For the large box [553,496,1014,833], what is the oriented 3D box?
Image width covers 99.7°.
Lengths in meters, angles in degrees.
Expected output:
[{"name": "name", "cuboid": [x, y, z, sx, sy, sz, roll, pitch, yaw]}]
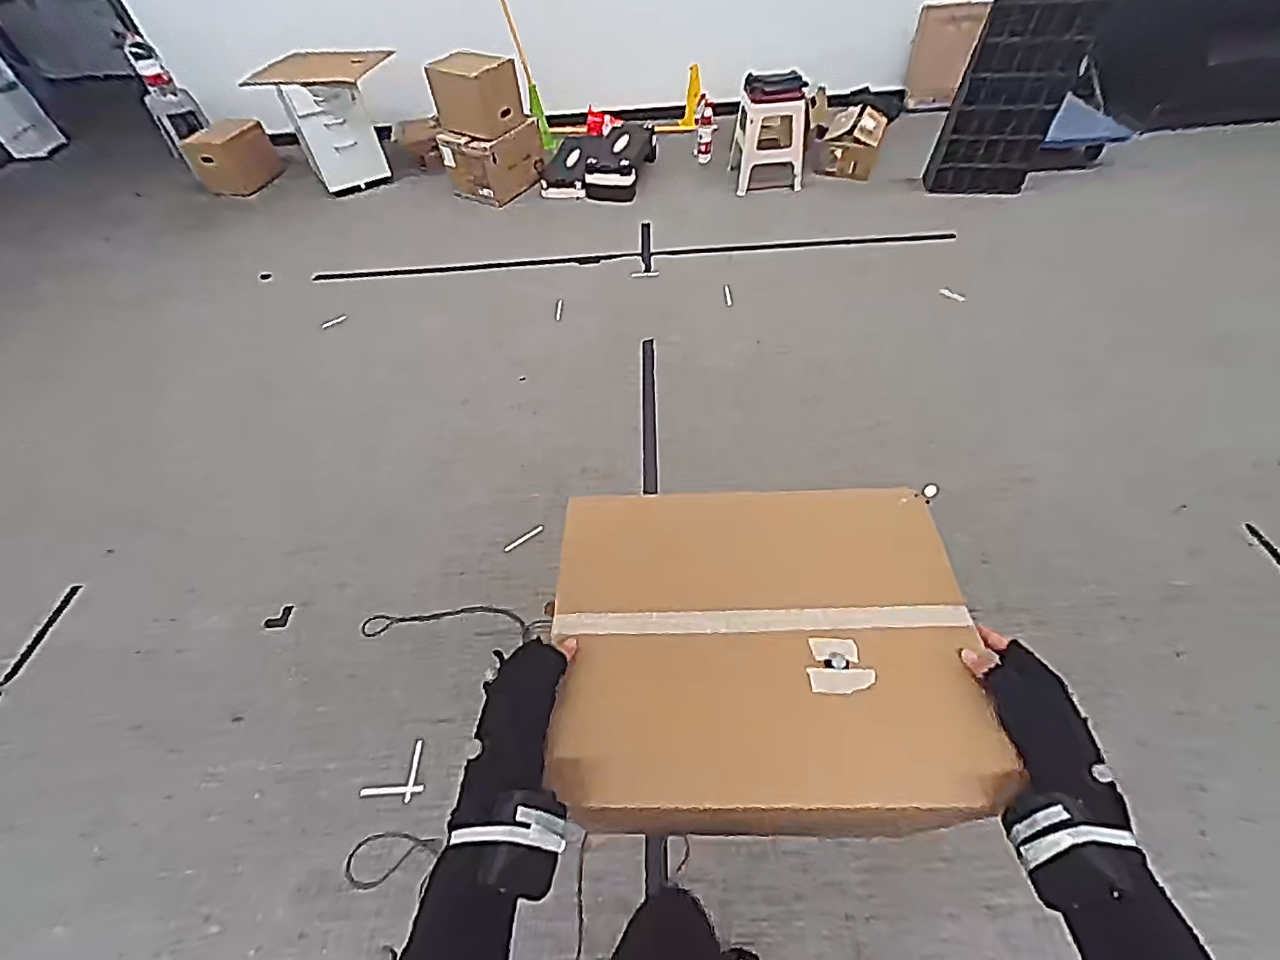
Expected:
[{"name": "large box", "cuboid": [0.125, 0.239, 0.669, 0.408, 0.320, 0.320, -2, 54, 2]}]
